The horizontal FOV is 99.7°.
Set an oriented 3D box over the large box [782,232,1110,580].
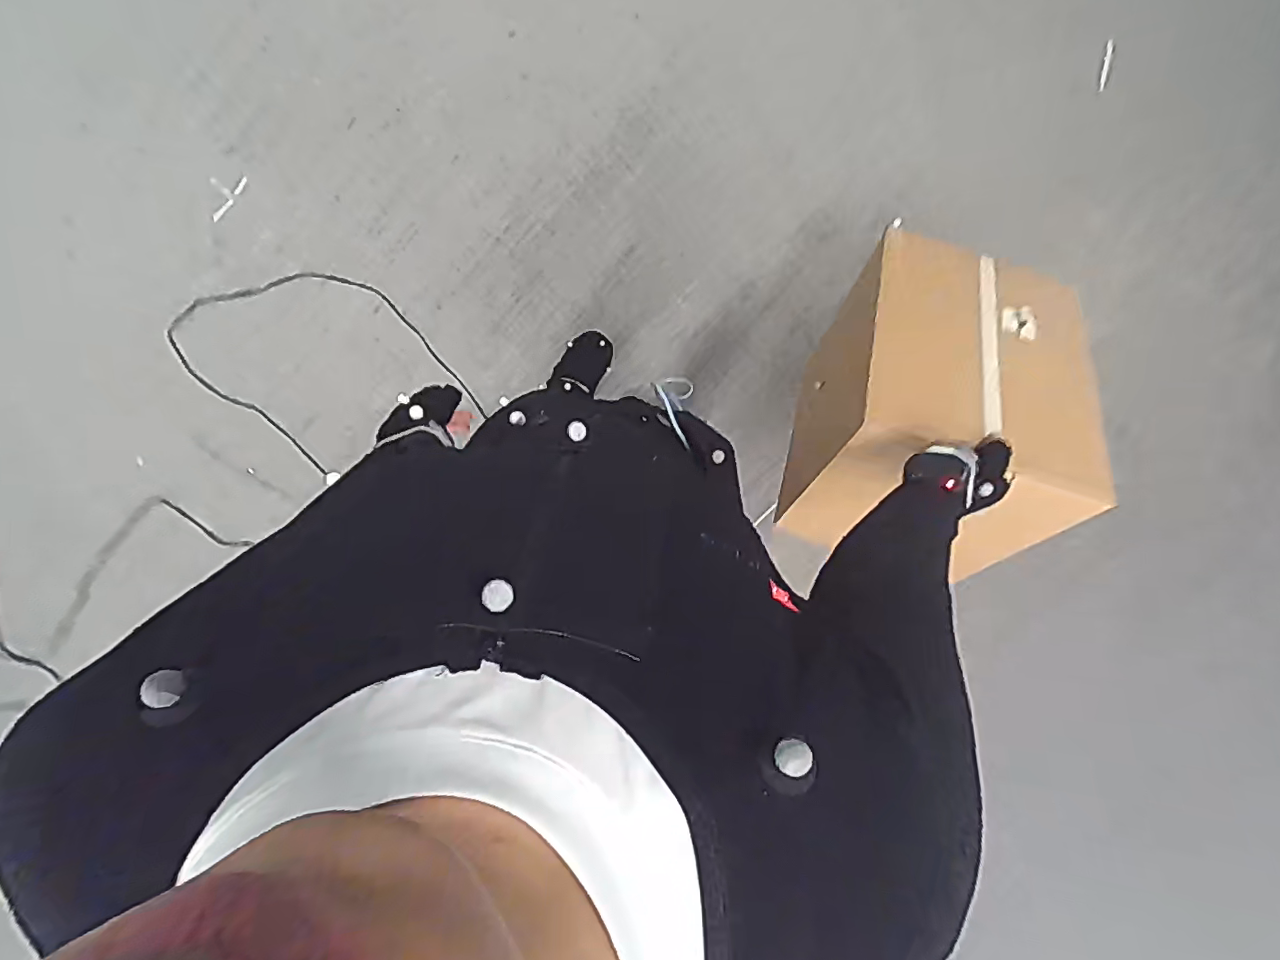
[{"bbox_3d":[0.454,-0.108,0.874,0.320,0.320,0.408,20,60,1],"label":"large box"}]
